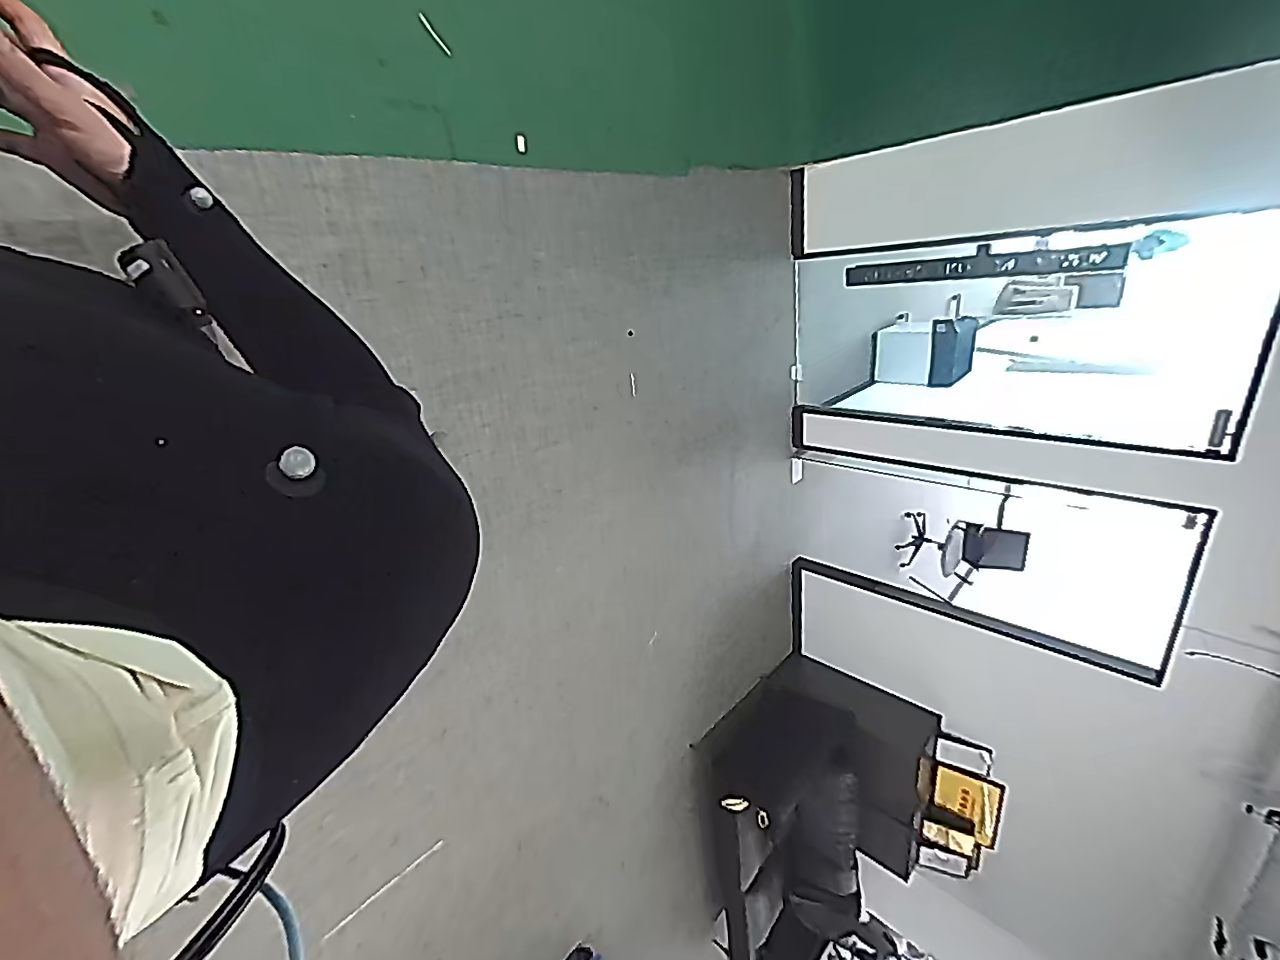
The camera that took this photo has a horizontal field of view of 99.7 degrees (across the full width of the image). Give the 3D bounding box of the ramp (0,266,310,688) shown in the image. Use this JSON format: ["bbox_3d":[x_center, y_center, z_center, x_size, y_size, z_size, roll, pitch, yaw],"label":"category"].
[{"bbox_3d":[-1.195,0.029,1.309,0.509,0.206,0.991,-29,121,-39],"label":"ramp"}]
